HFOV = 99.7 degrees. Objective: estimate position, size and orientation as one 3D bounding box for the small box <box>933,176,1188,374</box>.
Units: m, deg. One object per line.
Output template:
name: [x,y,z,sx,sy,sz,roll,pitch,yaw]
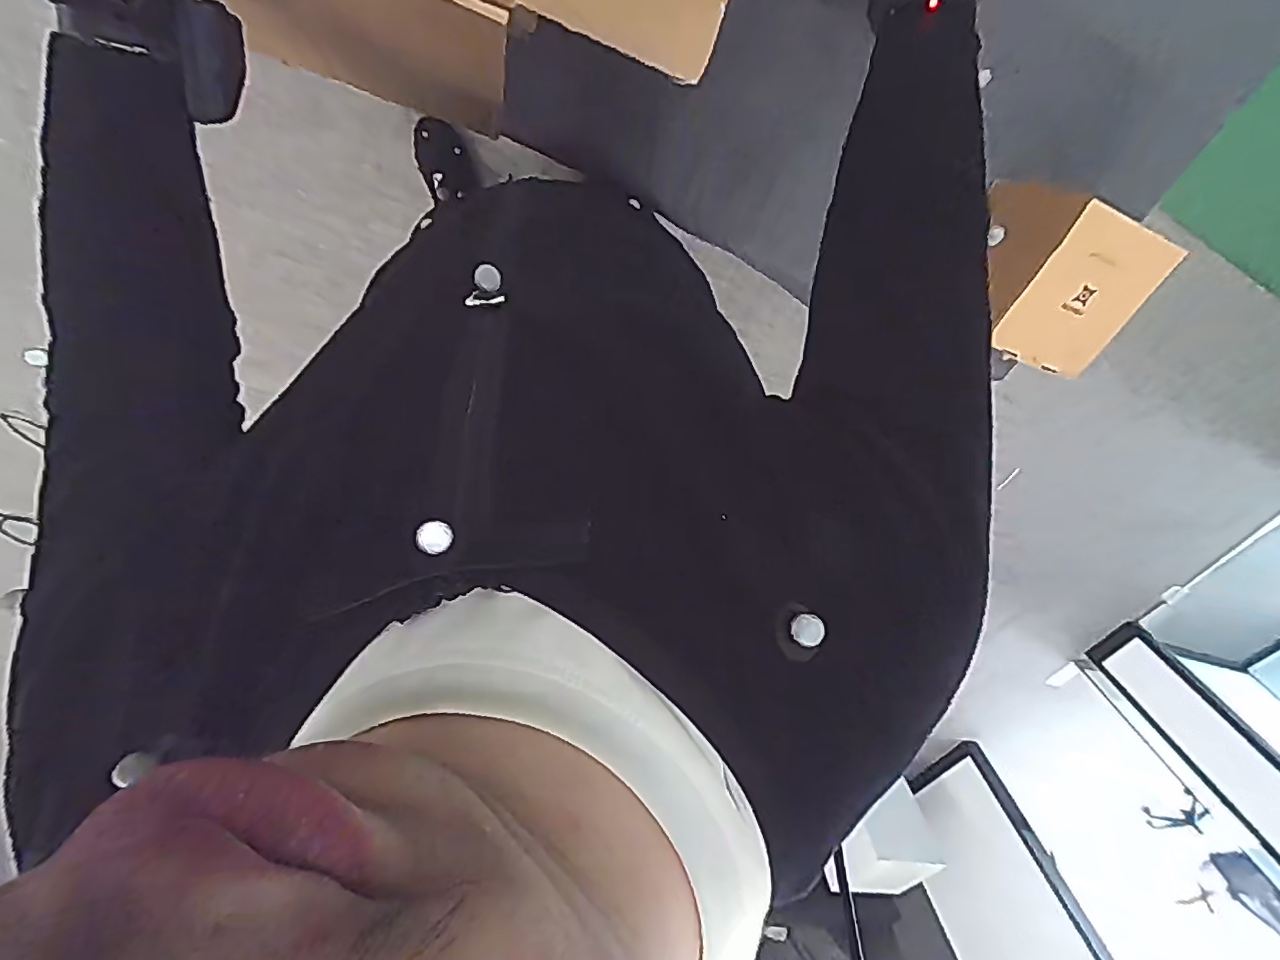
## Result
small box: [0.528,-0.273,0.715,0.168,0.176,0.179,14,122,-18]
